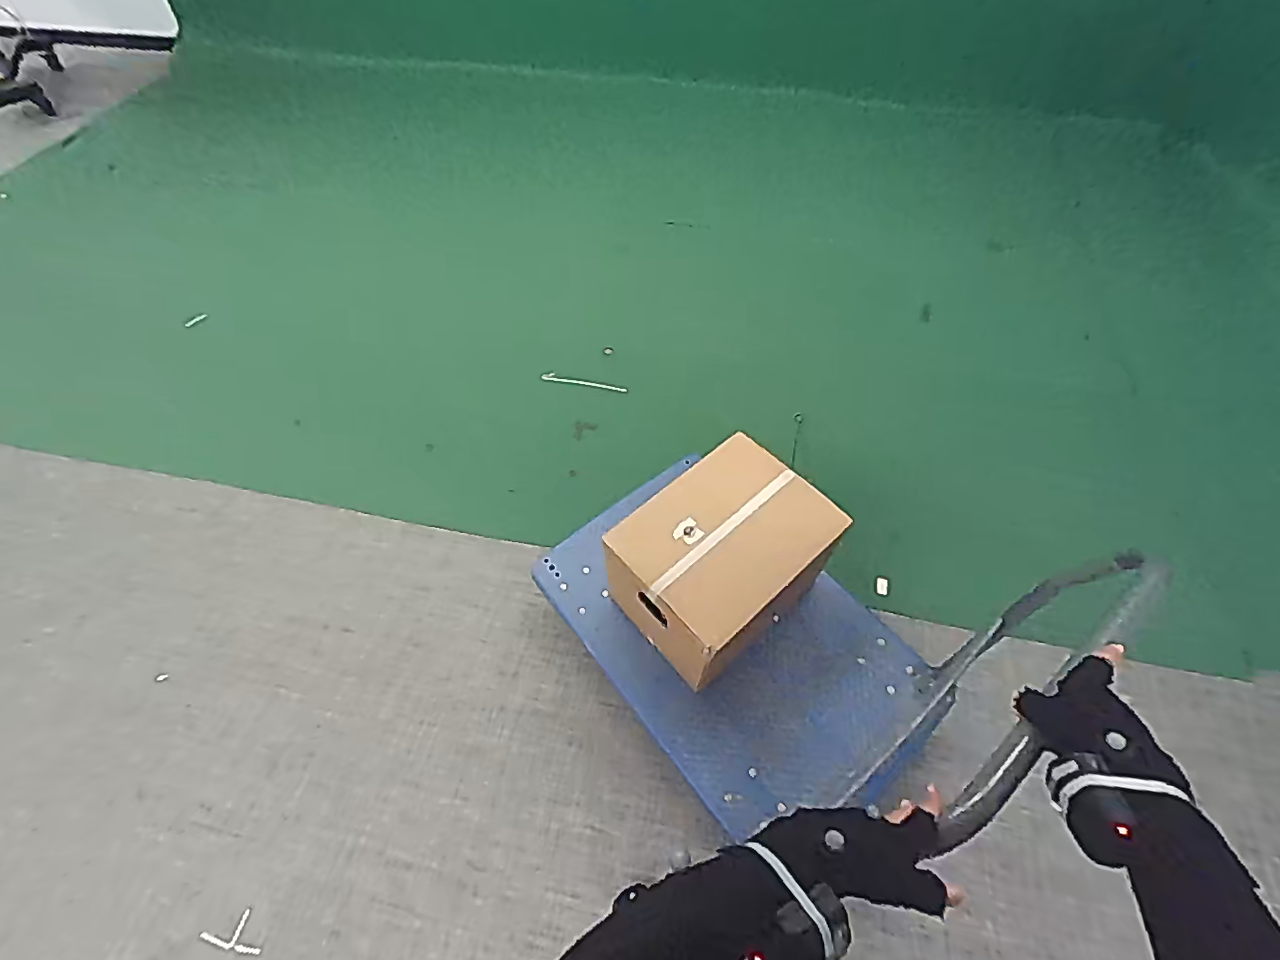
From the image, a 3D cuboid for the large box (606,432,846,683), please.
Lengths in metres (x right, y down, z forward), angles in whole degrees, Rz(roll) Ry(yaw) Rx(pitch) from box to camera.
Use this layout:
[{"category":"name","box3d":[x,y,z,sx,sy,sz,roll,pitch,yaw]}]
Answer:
[{"category":"large box","box3d":[0.178,0.175,1.211,0.408,0.320,0.320,-37,63,-20]}]
